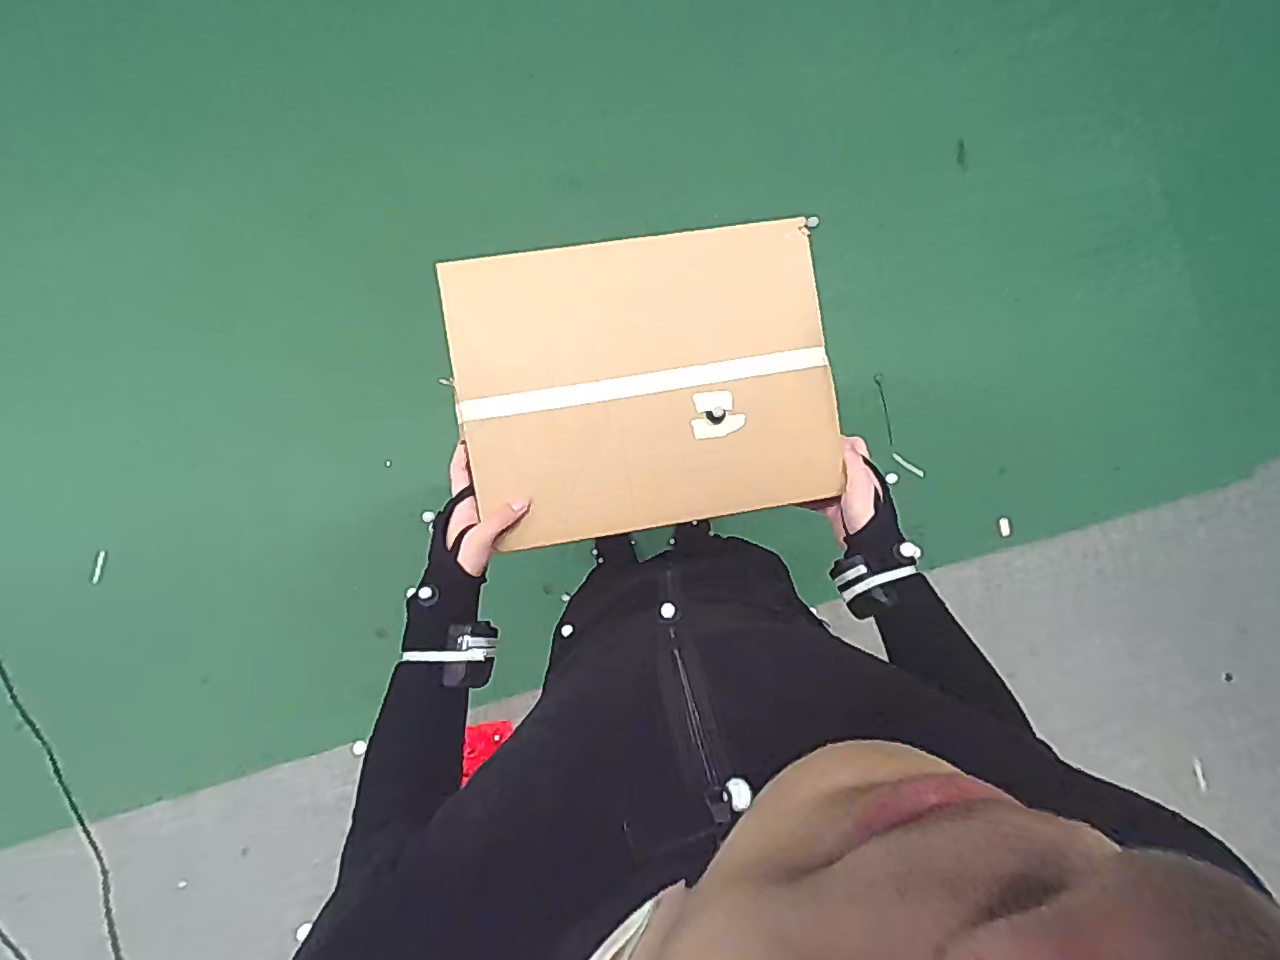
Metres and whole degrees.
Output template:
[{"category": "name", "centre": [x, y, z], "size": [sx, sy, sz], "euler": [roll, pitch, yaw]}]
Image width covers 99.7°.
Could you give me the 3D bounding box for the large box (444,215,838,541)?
[{"category": "large box", "centre": [-0.007, -0.117, 0.743], "size": [0.408, 0.320, 0.320], "euler": [-9, 92, -6]}]
